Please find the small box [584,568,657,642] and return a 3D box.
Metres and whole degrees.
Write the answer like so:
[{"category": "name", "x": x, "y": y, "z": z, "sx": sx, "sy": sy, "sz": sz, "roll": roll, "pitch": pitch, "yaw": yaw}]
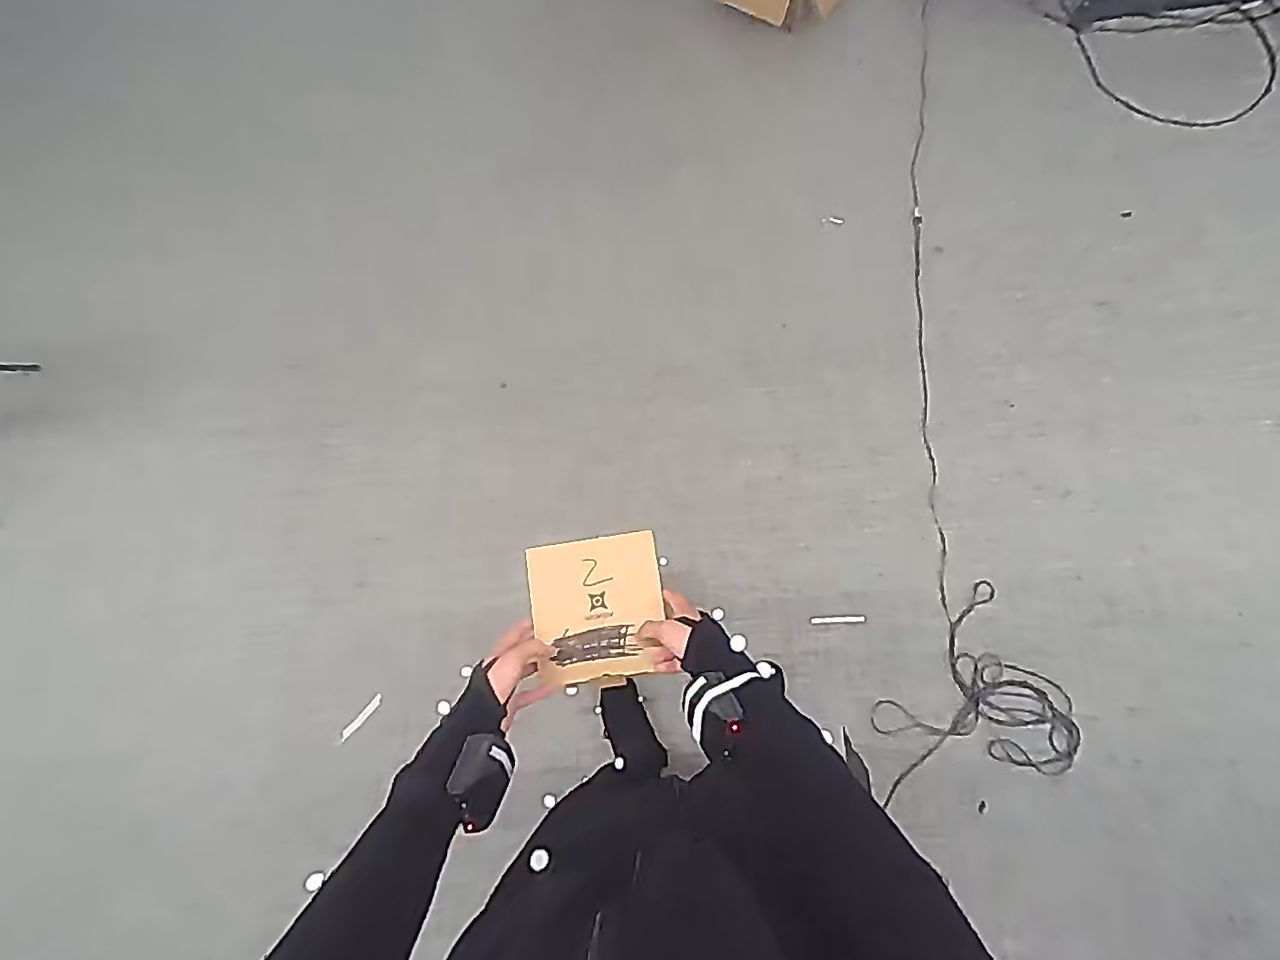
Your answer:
[{"category": "small box", "x": -0.045, "y": 0.327, "z": 1.409, "sx": 0.168, "sy": 0.176, "sz": 0.179, "roll": 0, "pitch": 75, "yaw": 7}]
